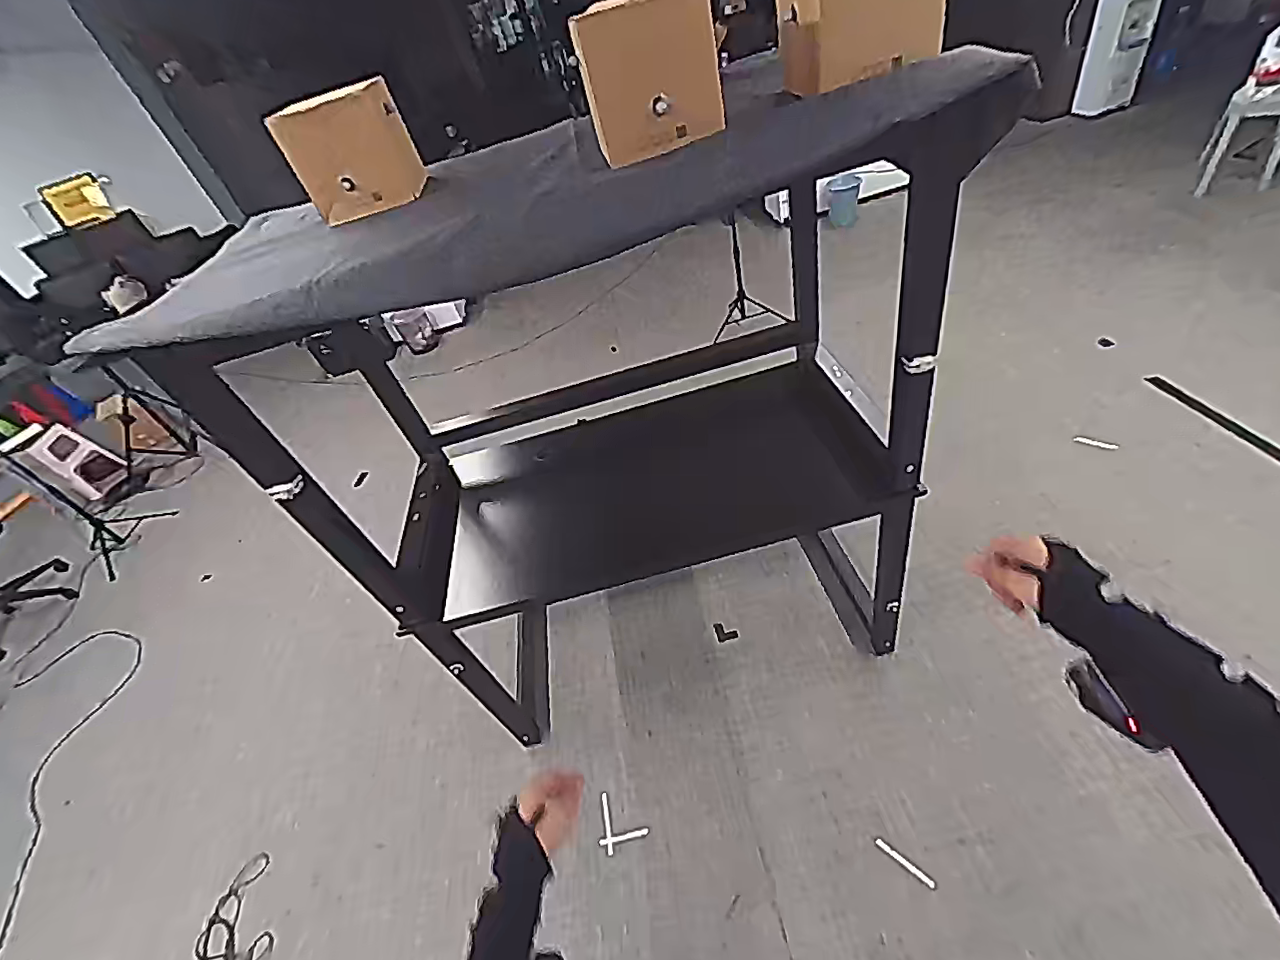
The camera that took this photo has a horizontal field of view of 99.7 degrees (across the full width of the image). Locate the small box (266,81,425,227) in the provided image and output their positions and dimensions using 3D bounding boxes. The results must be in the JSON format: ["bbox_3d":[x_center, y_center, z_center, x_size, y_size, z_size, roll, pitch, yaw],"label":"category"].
[{"bbox_3d":[-0.499,-0.570,0.950,0.168,0.176,0.179,-17,43,2],"label":"small box"}]

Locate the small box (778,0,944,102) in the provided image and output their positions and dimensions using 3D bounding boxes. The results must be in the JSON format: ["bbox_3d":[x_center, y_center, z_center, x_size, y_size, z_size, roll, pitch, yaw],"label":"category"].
[{"bbox_3d":[0.293,-0.644,0.743,0.168,0.176,0.179,-16,41,4],"label":"small box"}]

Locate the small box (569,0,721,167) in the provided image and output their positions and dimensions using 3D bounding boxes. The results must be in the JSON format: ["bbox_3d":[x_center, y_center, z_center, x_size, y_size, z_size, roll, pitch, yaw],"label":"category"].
[{"bbox_3d":[0.005,-0.561,0.757,0.168,0.176,0.179,-17,41,3],"label":"small box"}]
